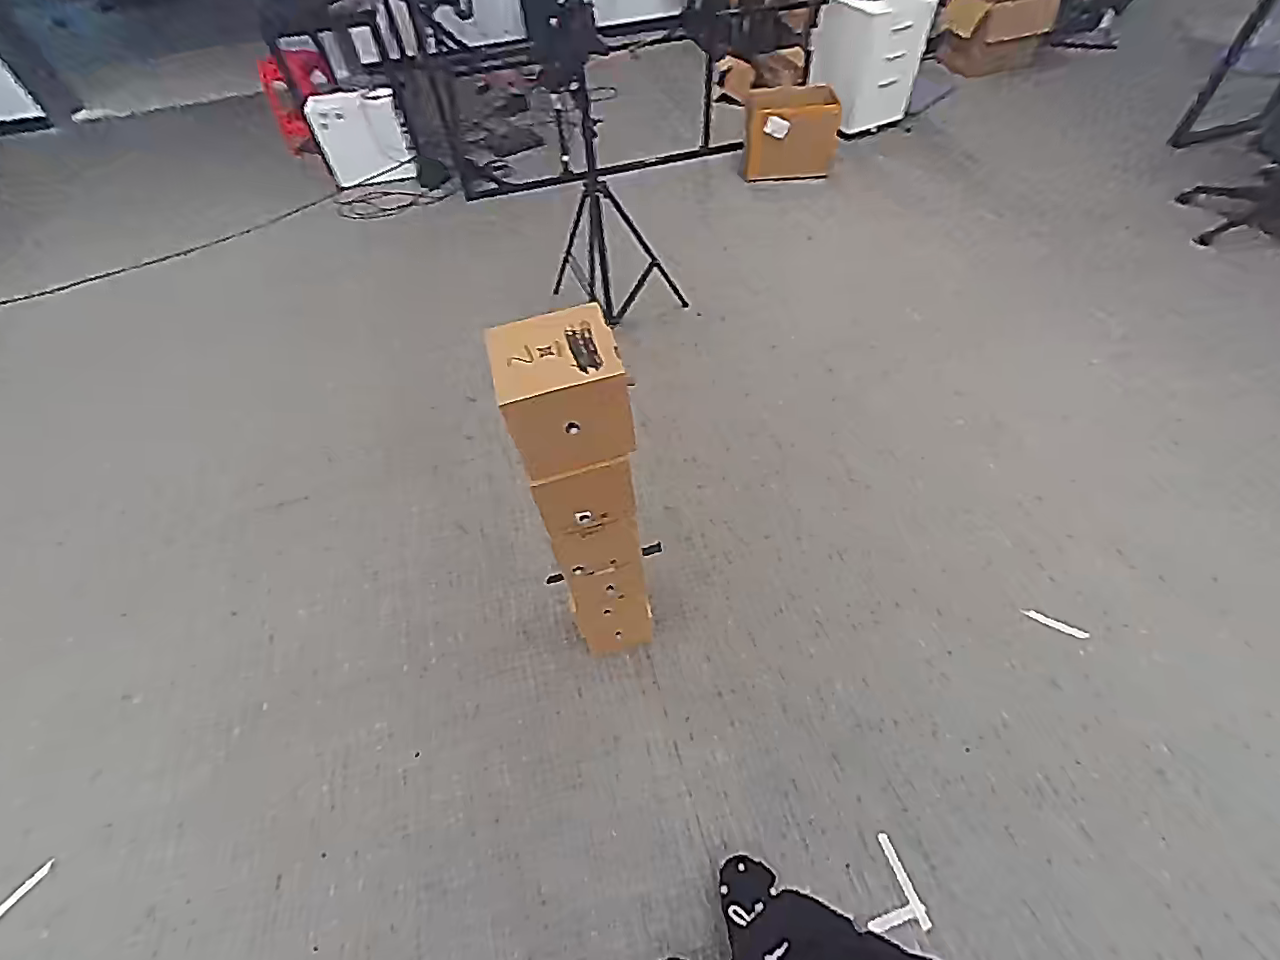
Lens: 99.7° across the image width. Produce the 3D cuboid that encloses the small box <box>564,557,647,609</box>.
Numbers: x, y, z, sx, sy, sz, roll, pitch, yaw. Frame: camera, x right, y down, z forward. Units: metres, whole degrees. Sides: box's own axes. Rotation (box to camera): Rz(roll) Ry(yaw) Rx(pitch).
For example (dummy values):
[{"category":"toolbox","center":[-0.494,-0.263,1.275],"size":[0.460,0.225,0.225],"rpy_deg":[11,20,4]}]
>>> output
[{"category":"small box","center":[-0.083,0.172,1.206],"size":[0.168,0.176,0.179],"rpy_deg":[-13,55,-5]}]

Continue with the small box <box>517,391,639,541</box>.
[{"category":"small box","center":[-0.104,-0.022,0.945],"size":[0.168,0.176,0.179],"rpy_deg":[-16,55,-6]}]

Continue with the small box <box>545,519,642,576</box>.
[{"category":"small box","center":[-0.097,0.074,1.075],"size":[0.168,0.176,0.179],"rpy_deg":[-14,53,-5]}]

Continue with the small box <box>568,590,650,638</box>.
[{"category":"small box","center":[-0.080,0.273,1.335],"size":[0.179,0.176,0.168],"rpy_deg":[-13,55,-5]}]

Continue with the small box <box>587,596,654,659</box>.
[{"category":"small box","center":[-0.064,0.366,1.470],"size":[0.179,0.176,0.168],"rpy_deg":[-15,54,-6]}]
